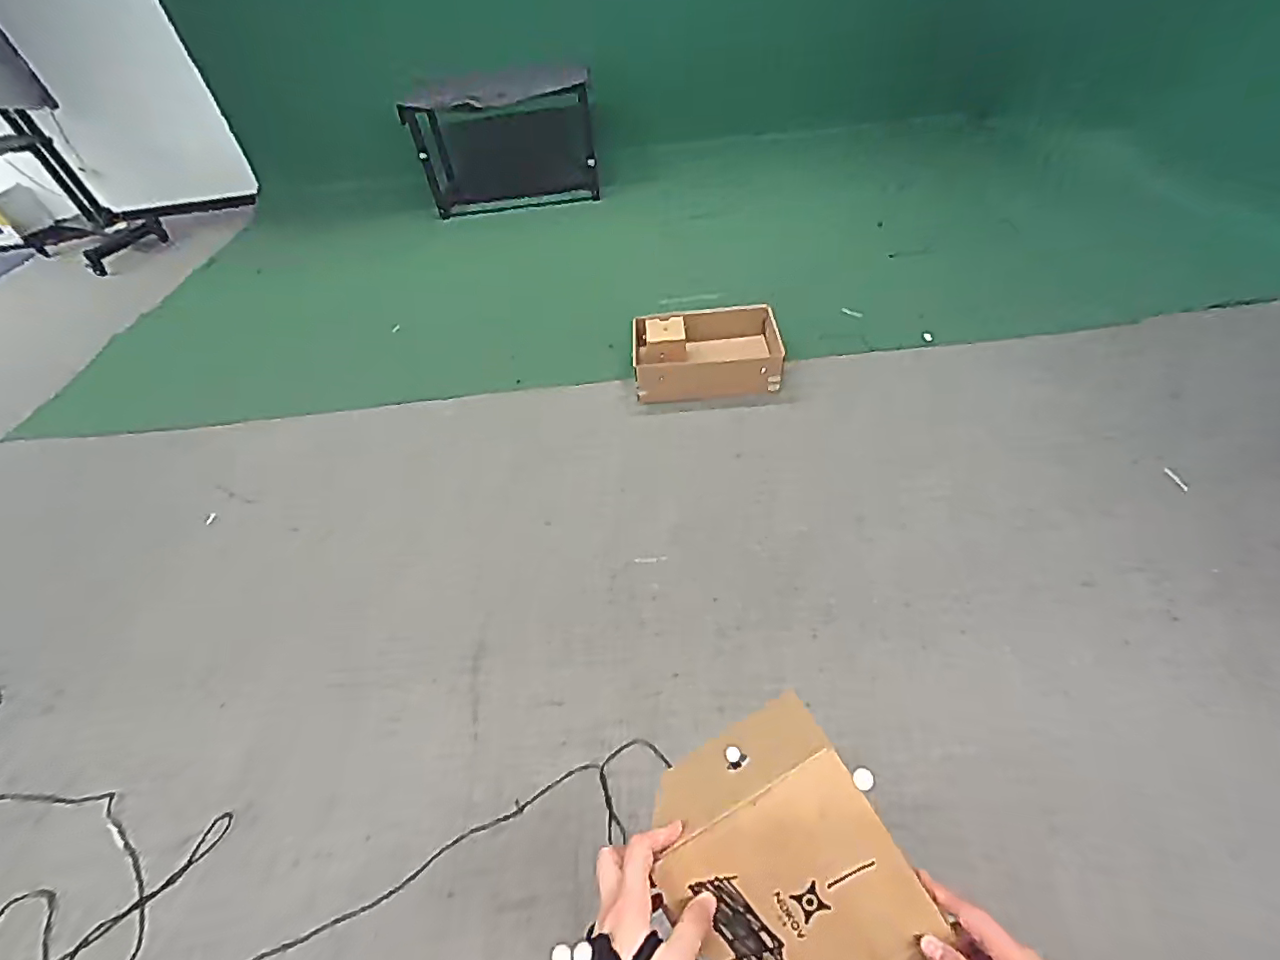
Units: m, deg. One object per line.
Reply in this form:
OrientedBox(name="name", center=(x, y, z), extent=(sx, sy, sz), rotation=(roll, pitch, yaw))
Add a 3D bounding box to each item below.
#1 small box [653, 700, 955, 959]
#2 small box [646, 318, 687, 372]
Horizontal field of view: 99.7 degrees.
OrientedBox(name="small box", center=(0.131, 0.336, 0.496), extent=(0.179, 0.176, 0.168), rotation=(-33, 83, 0))
OrientedBox(name="small box", center=(0.118, -0.587, 2.373), extent=(0.168, 0.176, 0.179), rotation=(-4, 48, 3))
